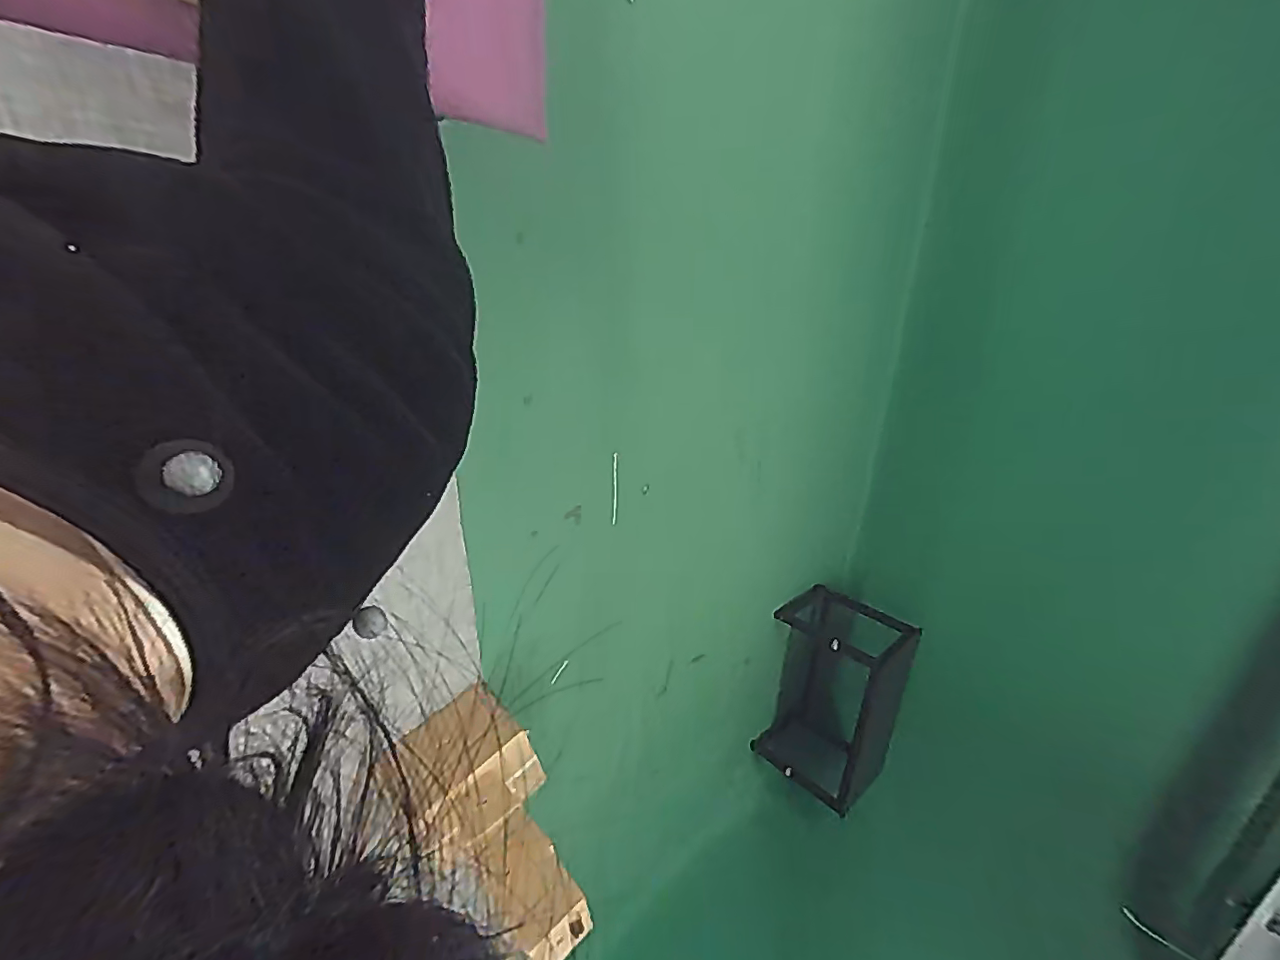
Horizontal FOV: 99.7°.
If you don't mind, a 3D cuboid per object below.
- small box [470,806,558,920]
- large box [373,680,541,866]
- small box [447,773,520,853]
[{"bbox_3d":[-0.367,1.108,1.579,0.179,0.176,0.168,-27,124,-36],"label":"small box"},{"bbox_3d":[-0.624,0.997,1.877,0.408,0.320,0.320,-35,130,-33],"label":"large box"},{"bbox_3d":[-0.477,1.054,1.685,0.168,0.176,0.179,-28,125,-35],"label":"small box"}]
